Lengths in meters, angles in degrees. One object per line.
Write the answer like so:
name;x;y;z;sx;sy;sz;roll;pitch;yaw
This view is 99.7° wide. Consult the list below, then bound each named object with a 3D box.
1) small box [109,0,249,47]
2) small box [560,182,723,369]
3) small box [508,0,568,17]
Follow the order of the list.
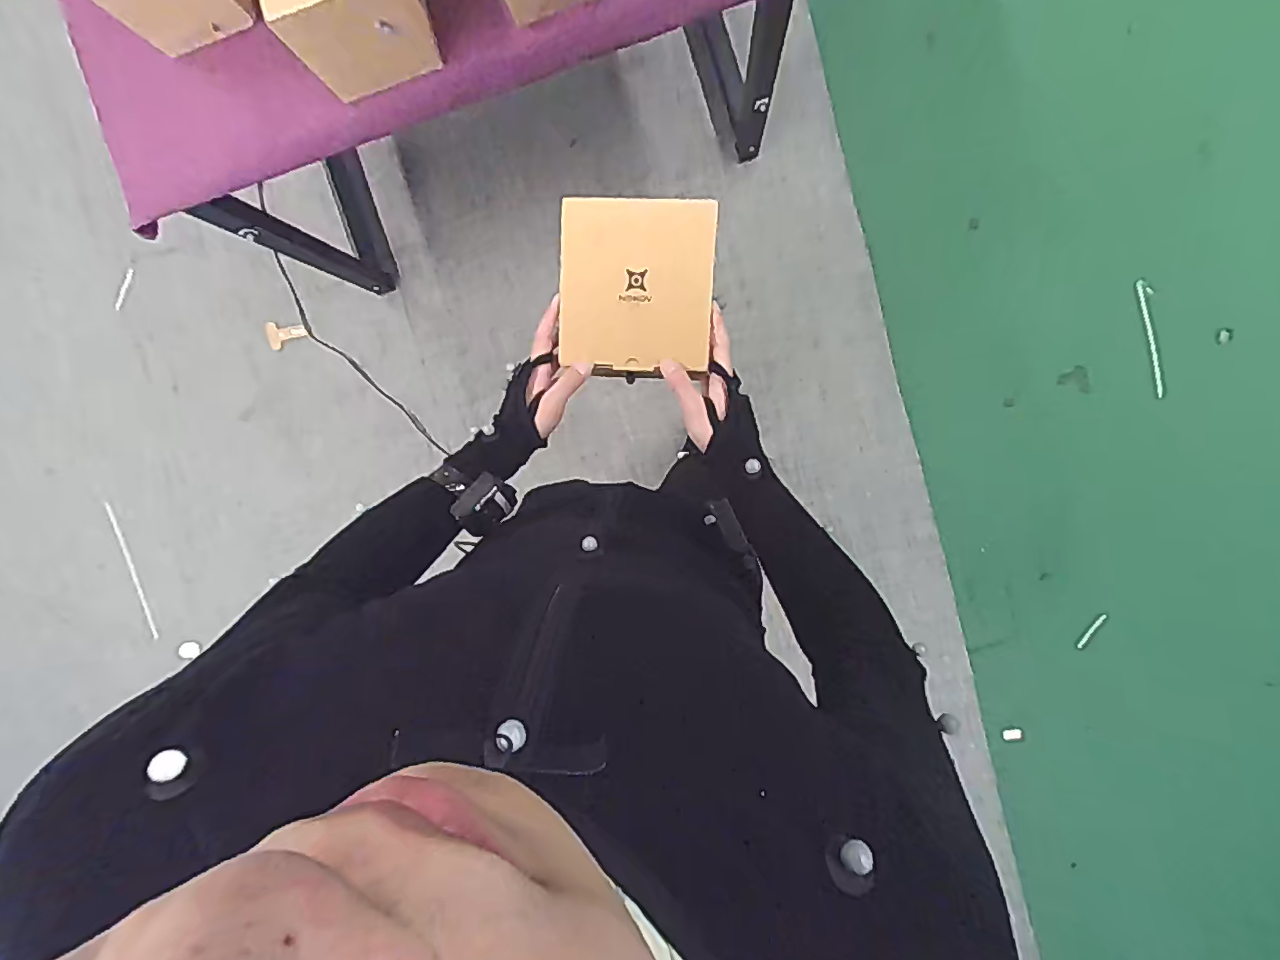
small box;-0.727;-0.798;0.789;0.168;0.176;0.179;-16;94;7
small box;0.004;-0.230;0.646;0.168;0.176;0.179;3;99;4
small box;-0.146;-0.803;0.737;0.168;0.176;0.179;-15;93;7
